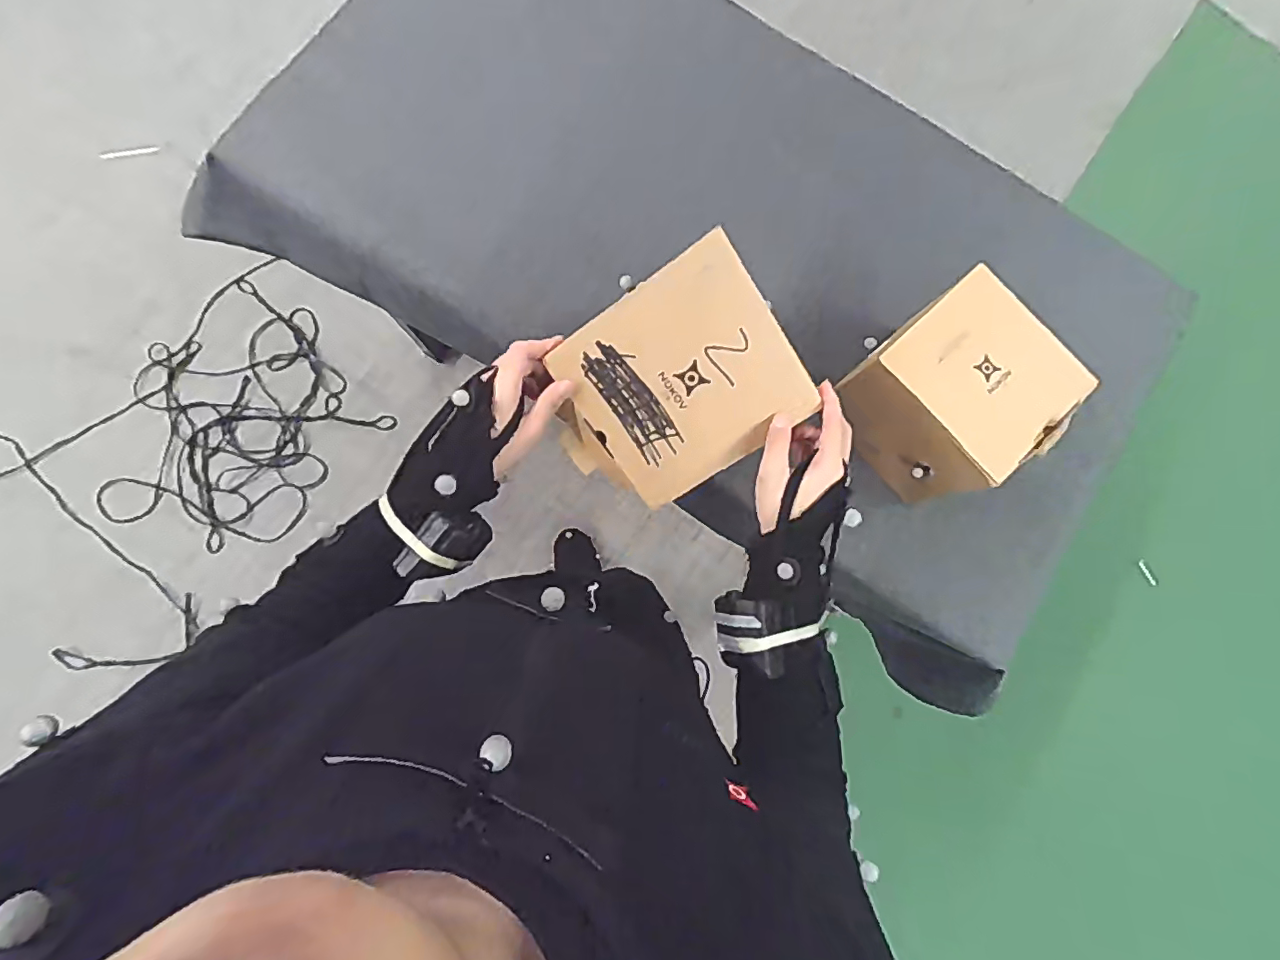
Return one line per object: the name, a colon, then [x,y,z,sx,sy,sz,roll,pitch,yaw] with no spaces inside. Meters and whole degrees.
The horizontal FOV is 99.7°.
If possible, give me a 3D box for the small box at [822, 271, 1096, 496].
small box: [0.353,-0.096,0.632,0.168,0.176,0.179,-42,85,-9]
